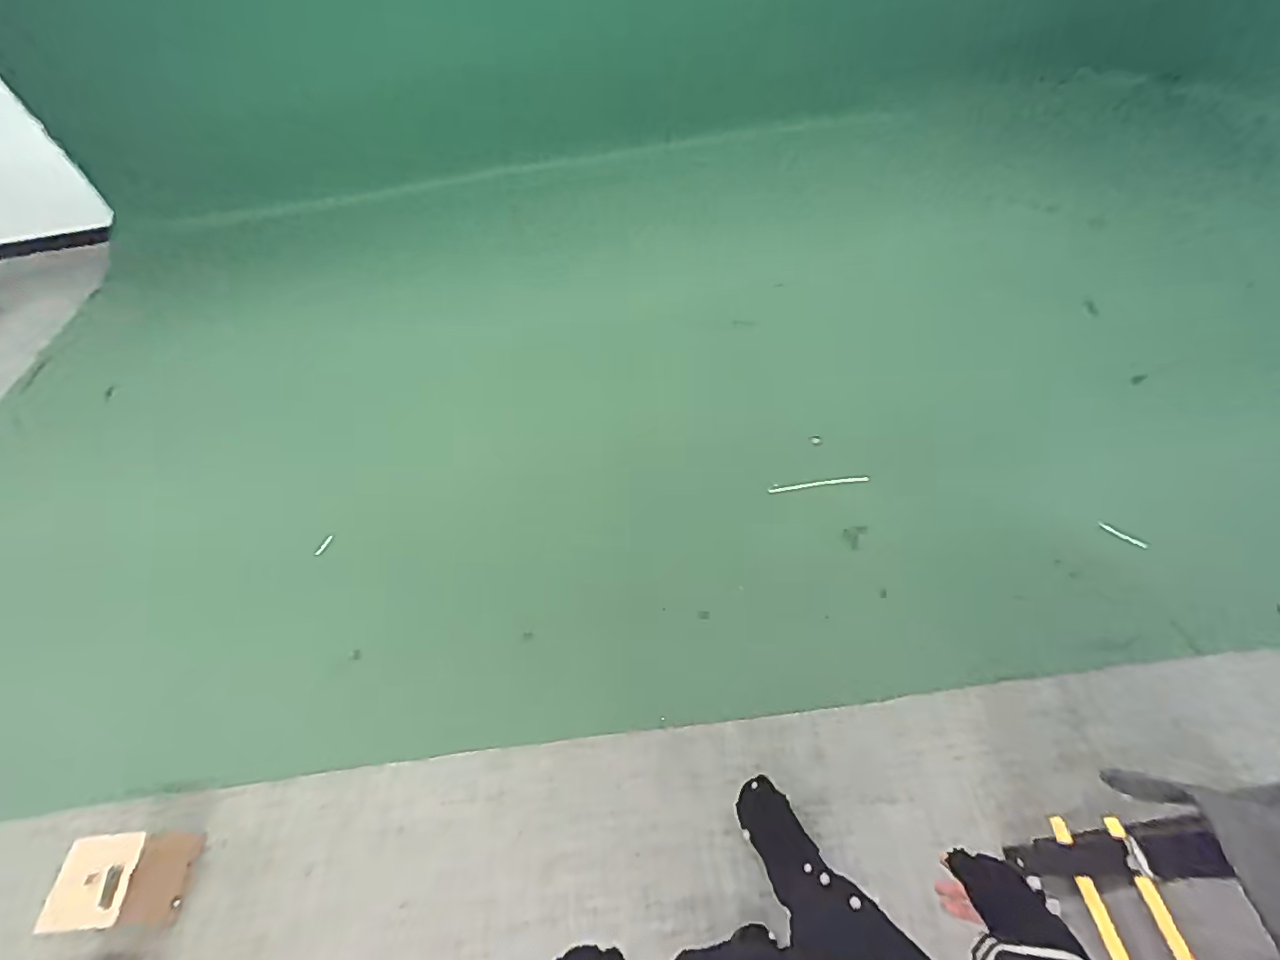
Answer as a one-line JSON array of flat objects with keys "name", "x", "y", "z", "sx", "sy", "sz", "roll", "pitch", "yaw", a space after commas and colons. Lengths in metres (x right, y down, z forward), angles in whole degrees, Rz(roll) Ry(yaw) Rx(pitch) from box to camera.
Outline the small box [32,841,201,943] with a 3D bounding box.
[{"name": "small box", "x": -1.137, "y": 0.905, "z": 1.196, "sx": 0.179, "sy": 0.176, "sz": 0.168, "roll": -7, "pitch": 53, "yaw": 3}]
